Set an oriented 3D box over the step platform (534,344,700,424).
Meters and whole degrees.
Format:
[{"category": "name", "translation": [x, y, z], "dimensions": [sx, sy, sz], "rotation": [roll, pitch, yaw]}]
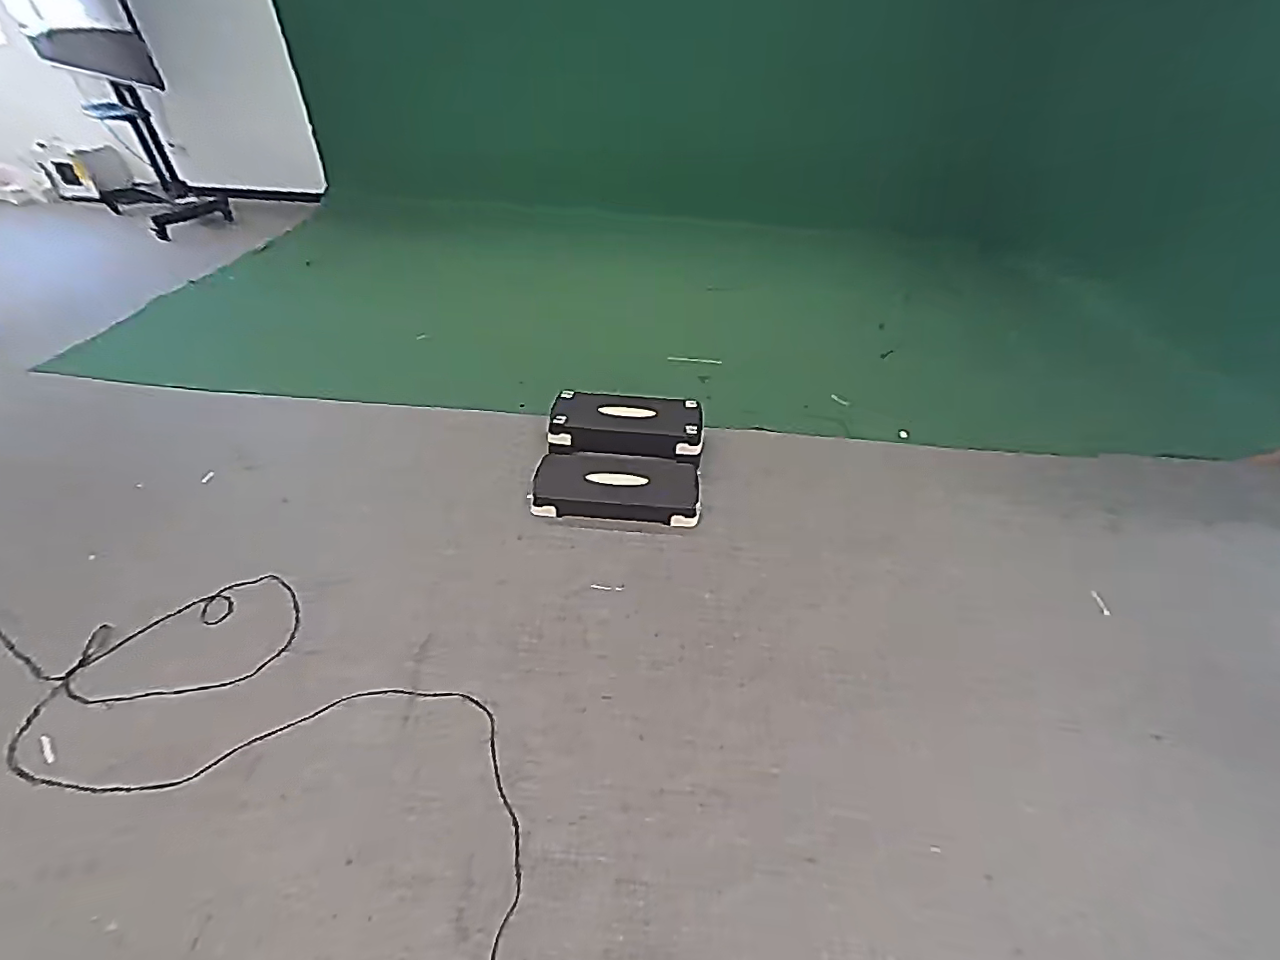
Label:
[{"category": "step platform", "translation": [-0.094, -0.407, 2.296], "dimensions": [0.684, 0.204, 0.286], "rotation": [4, 42, 2]}]
